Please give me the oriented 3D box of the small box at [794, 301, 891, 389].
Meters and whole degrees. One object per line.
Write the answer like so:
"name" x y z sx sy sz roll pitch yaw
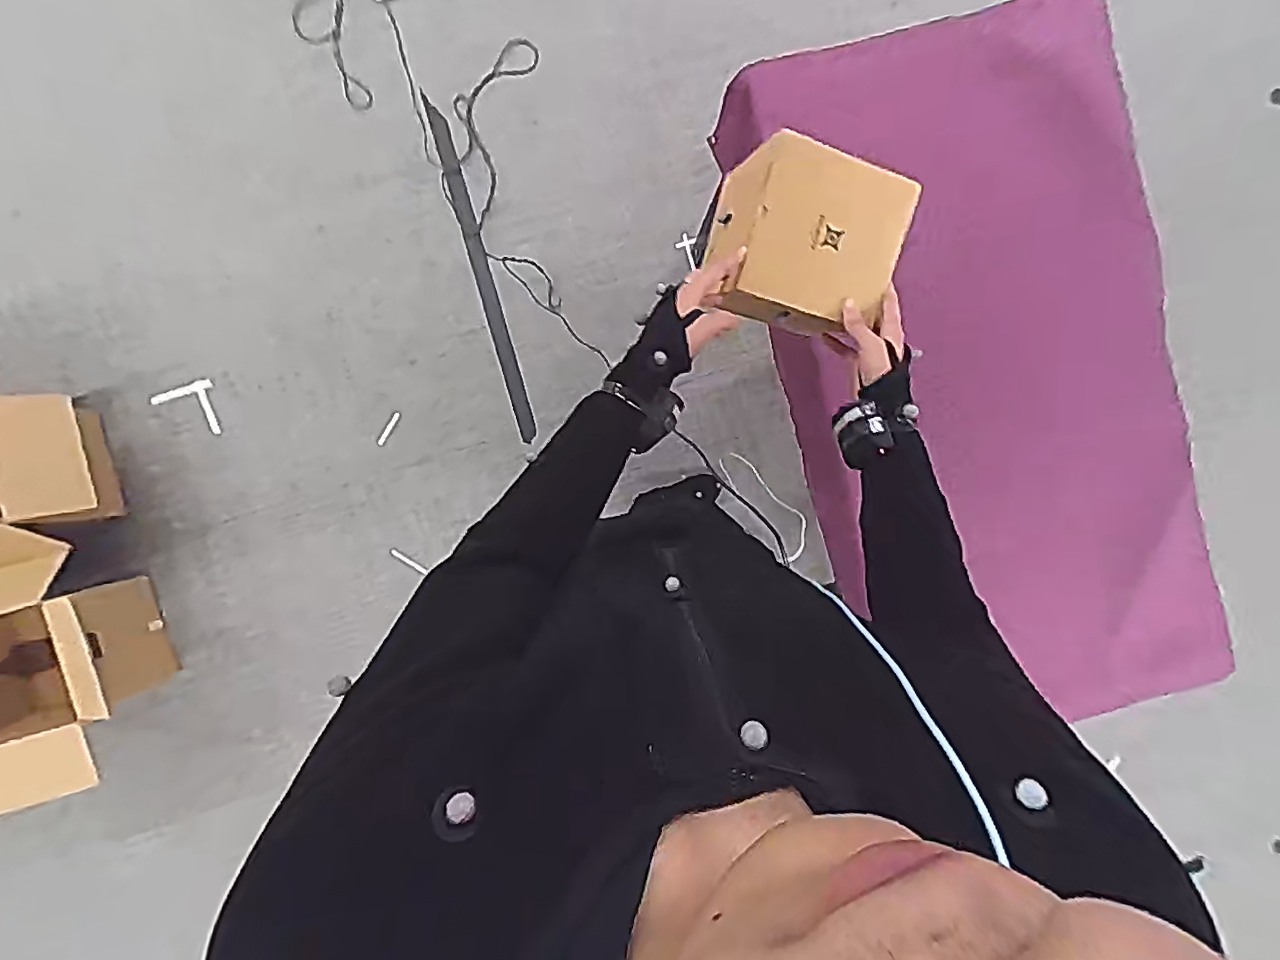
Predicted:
"small box" 0.532 -0.355 1.447 0.168 0.176 0.179 -19 97 -3

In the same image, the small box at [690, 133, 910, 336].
"small box" 0.180 -0.281 0.661 0.179 0.176 0.168 12 102 -12
